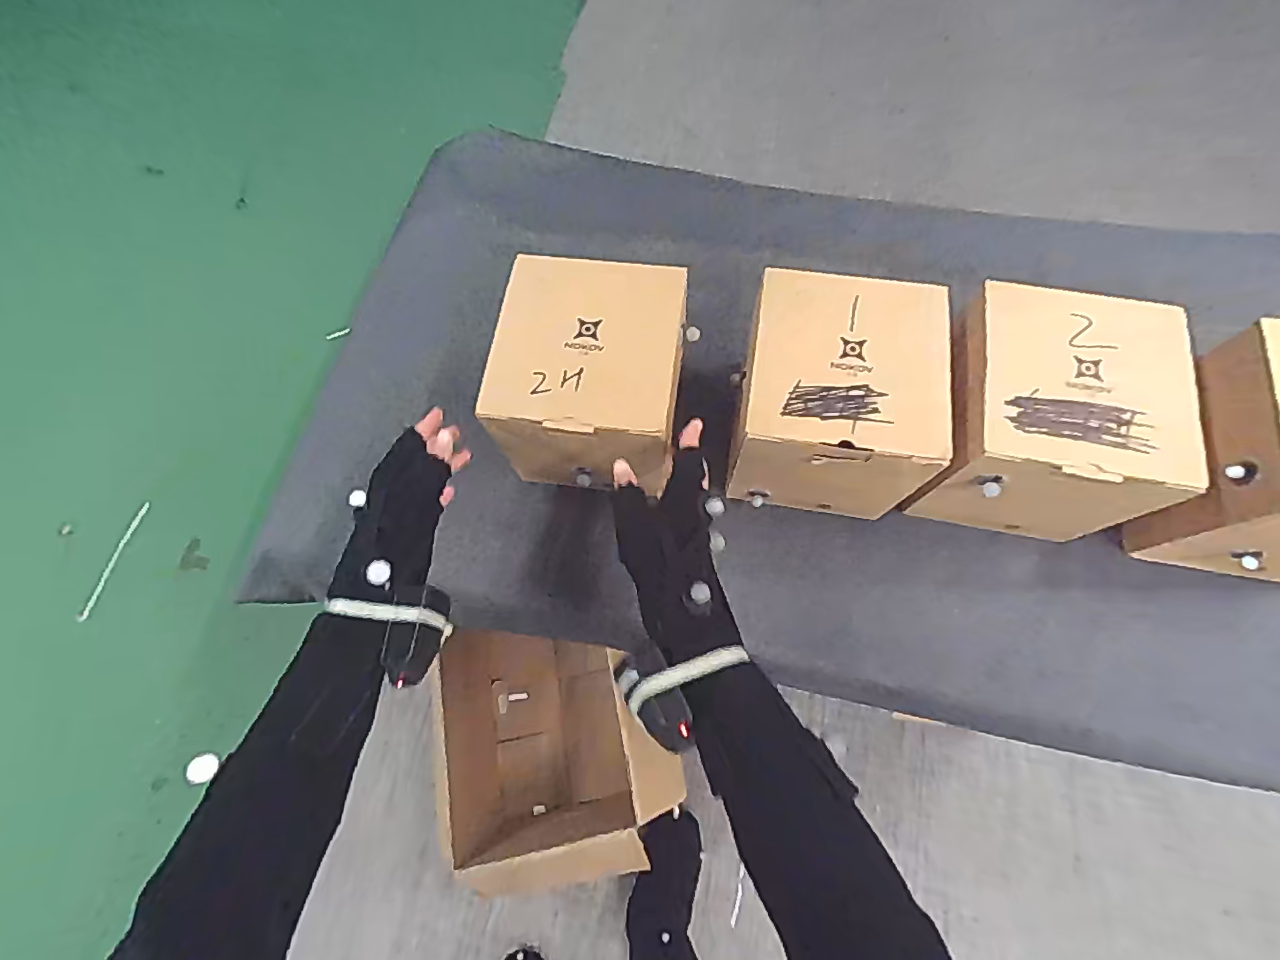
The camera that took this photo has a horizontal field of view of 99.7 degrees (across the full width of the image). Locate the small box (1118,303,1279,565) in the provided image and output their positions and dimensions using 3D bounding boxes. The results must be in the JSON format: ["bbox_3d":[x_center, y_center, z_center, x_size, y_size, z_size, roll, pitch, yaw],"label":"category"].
[{"bbox_3d":[0.593,-0.032,0.500,0.168,0.176,0.179,9,72,6],"label":"small box"}]
